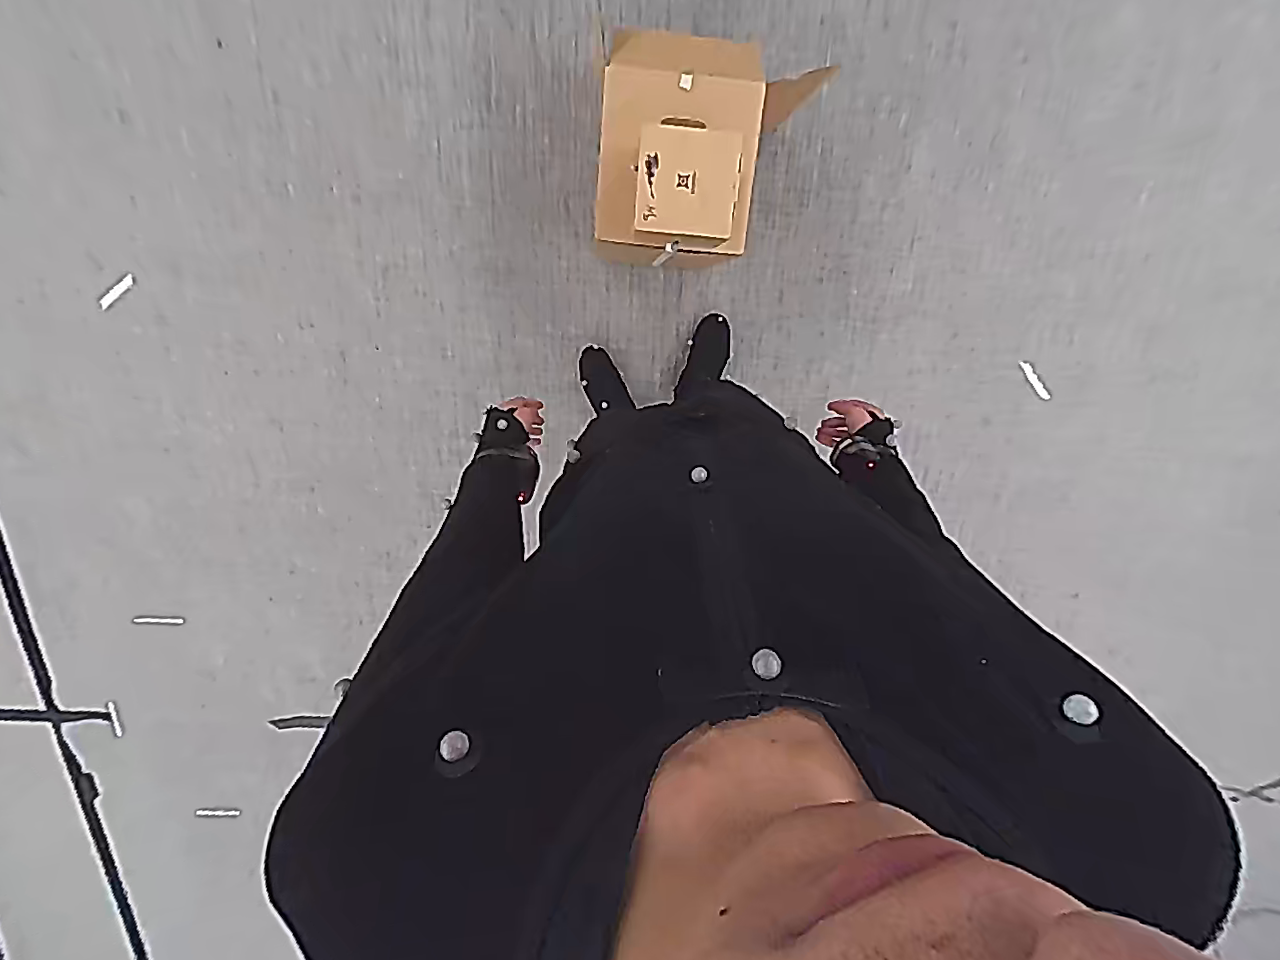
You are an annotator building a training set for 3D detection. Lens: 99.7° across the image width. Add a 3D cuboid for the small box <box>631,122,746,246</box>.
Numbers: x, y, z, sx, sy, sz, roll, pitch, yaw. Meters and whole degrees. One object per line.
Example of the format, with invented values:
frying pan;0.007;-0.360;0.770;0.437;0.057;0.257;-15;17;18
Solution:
small box;0.079;-0.532;0.996;0.179;0.176;0.168;4;108;-4
